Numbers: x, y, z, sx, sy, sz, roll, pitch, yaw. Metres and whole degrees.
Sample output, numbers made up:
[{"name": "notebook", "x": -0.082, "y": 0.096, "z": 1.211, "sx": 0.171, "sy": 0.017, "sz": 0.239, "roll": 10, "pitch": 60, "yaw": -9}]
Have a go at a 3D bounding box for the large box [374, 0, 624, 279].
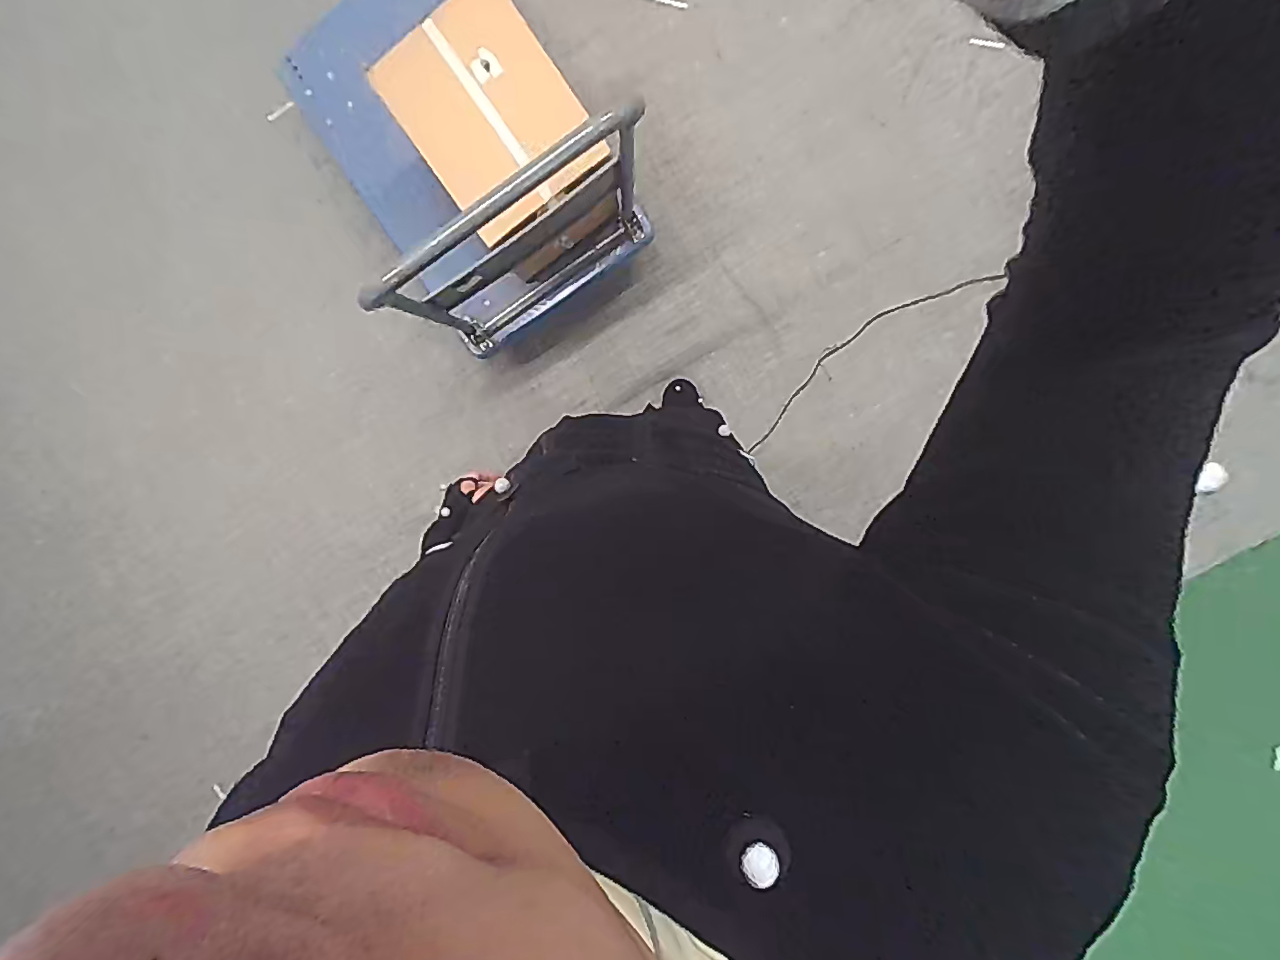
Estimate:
[{"name": "large box", "x": -0.280, "y": -0.737, "z": 1.212, "sx": 0.320, "sy": 0.320, "sz": 0.408, "roll": -35, "pitch": 95, "yaw": 5}]
